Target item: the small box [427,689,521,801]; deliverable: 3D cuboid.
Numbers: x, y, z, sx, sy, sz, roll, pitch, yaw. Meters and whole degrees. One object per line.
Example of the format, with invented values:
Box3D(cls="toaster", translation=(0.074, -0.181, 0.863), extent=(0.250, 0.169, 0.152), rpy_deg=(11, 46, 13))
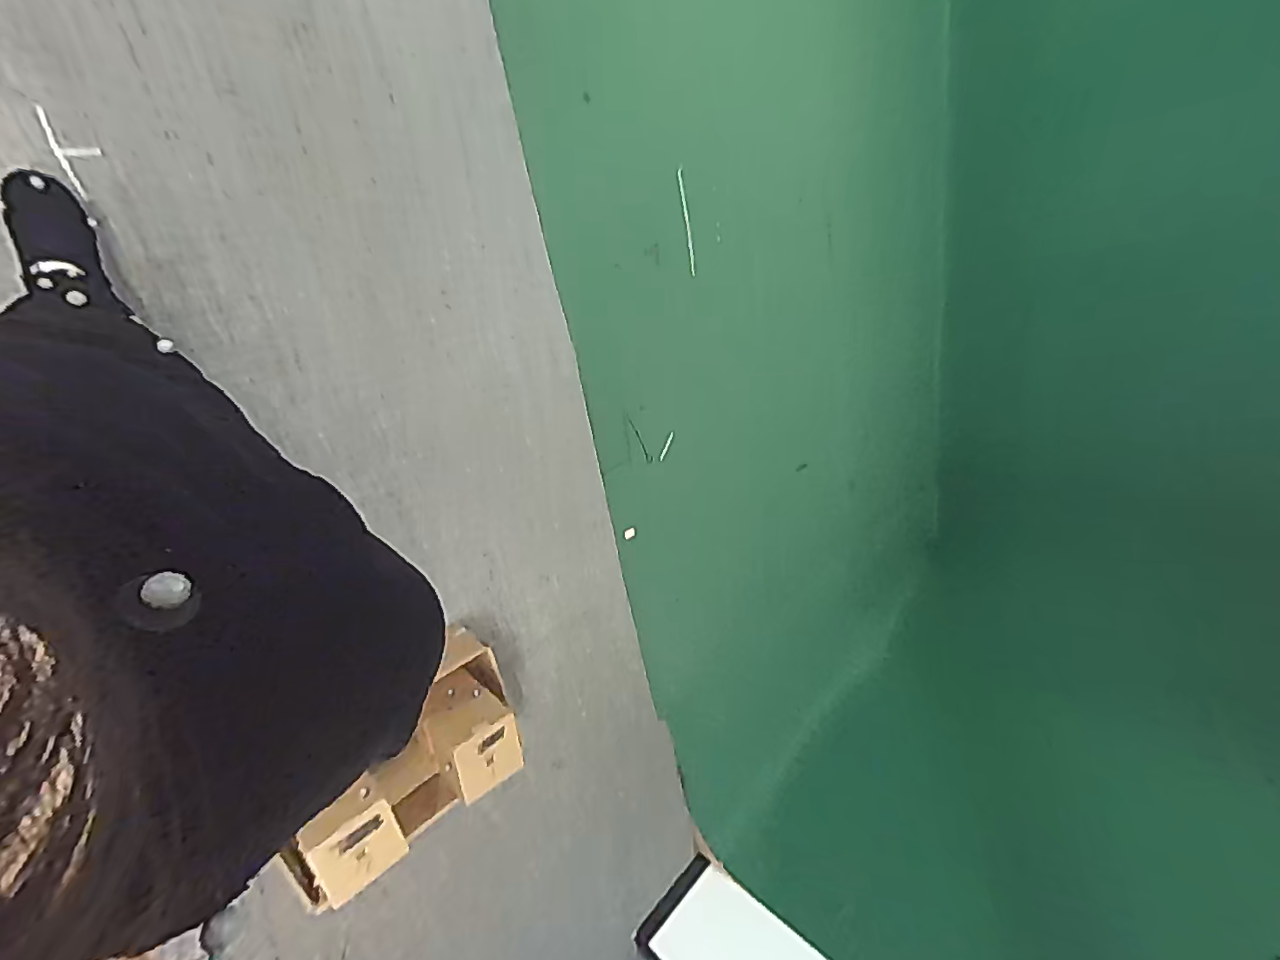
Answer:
Box3D(cls="small box", translation=(-0.435, 0.675, 1.409), extent=(0.168, 0.176, 0.179), rpy_deg=(-21, 113, -38))
